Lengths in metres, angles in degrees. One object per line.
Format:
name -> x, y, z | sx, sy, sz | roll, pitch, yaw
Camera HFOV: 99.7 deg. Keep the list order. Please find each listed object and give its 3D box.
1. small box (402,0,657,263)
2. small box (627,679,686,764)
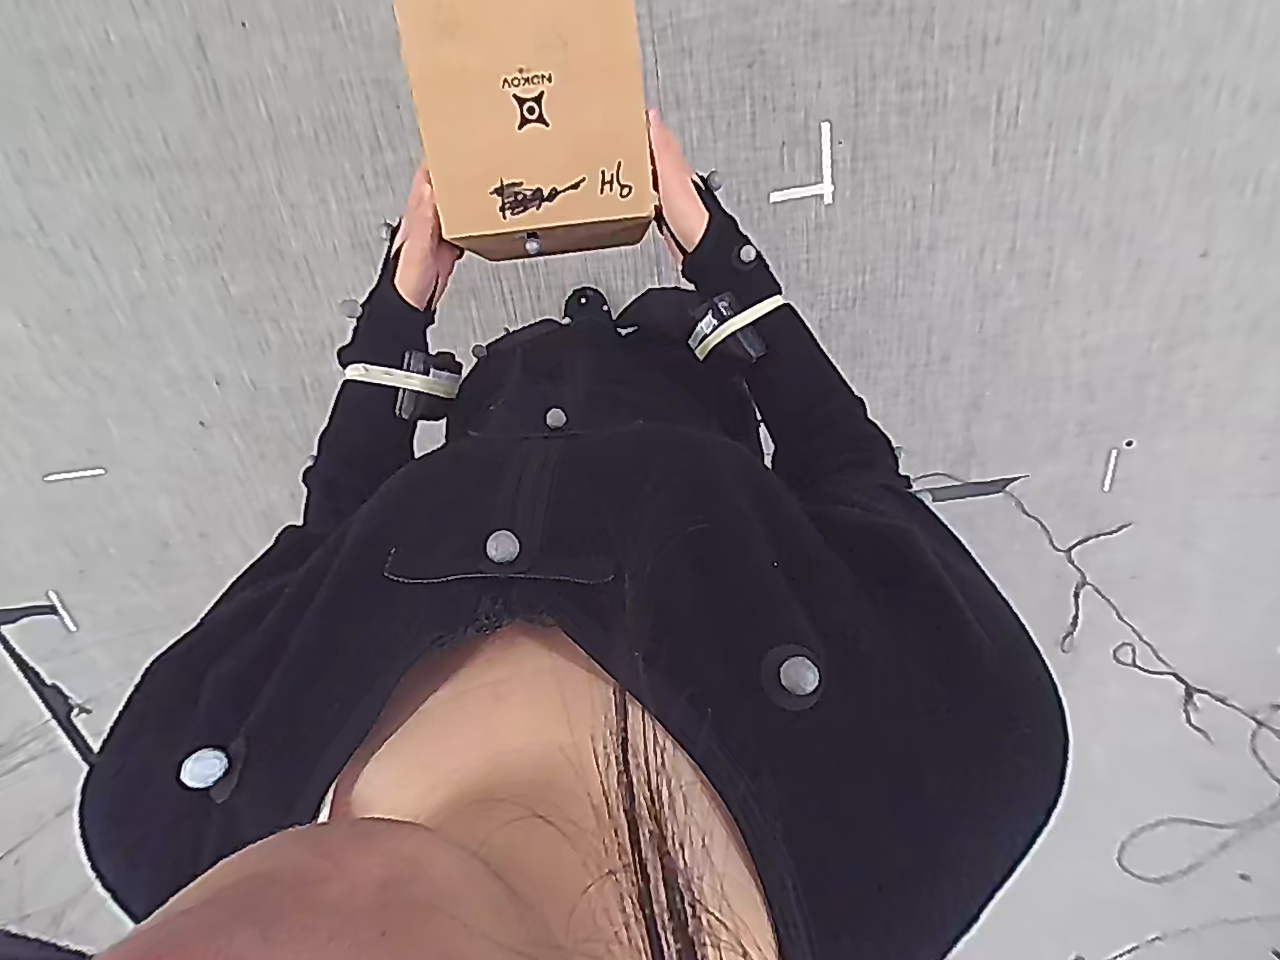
small box -> -0.082, -0.296, 0.466 | 0.168, 0.176, 0.179 | -7, 107, -2
small box -> 0.052, 0.785, 1.766 | 0.168, 0.176, 0.179 | -9, 111, -2
